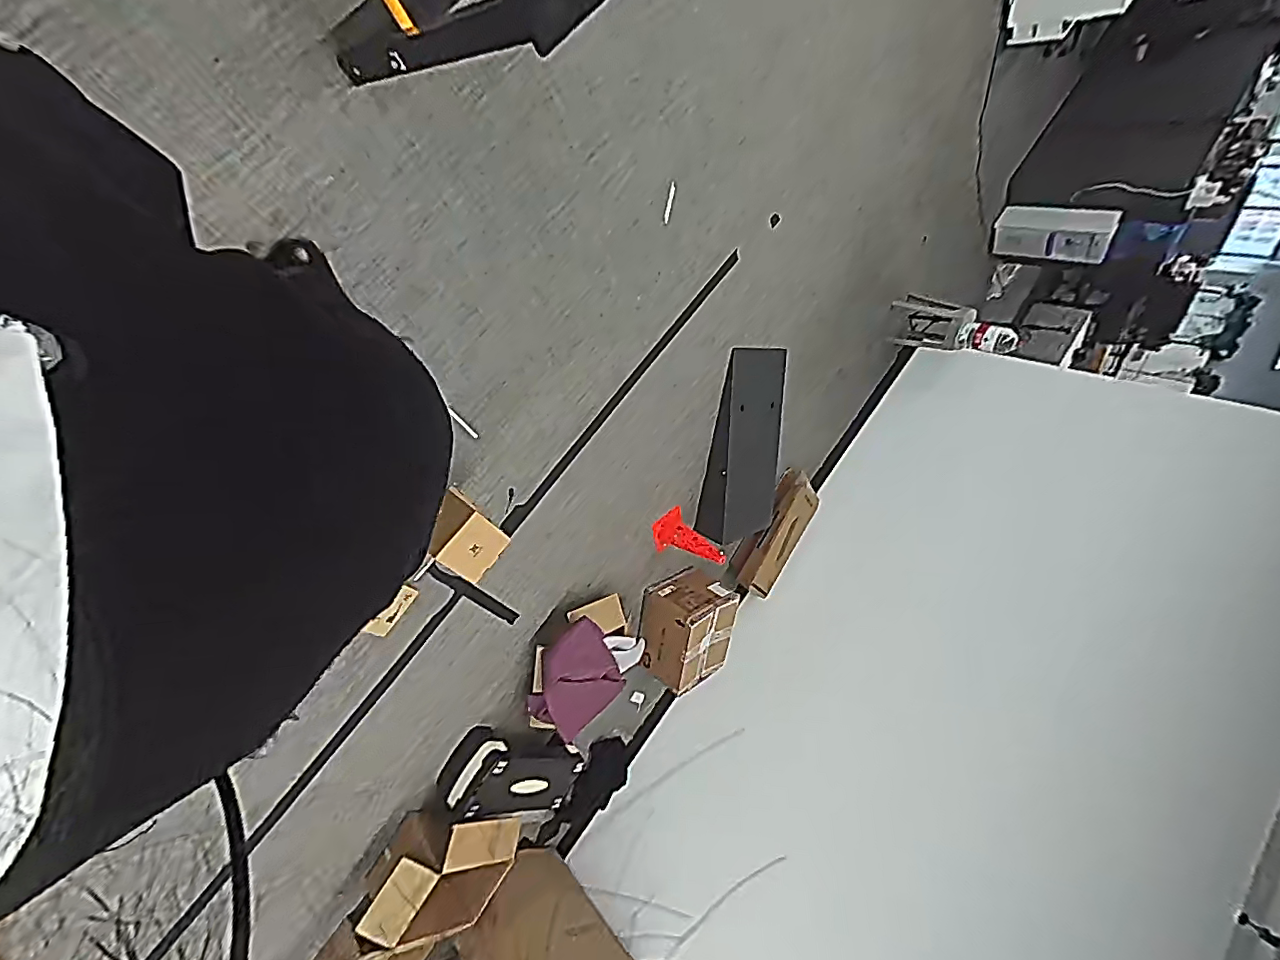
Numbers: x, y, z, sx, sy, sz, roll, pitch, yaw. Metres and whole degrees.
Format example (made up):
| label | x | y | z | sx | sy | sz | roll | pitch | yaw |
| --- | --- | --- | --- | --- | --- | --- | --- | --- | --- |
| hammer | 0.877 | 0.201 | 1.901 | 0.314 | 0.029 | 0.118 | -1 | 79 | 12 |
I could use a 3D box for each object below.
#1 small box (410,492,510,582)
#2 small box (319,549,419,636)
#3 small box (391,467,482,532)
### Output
| label | x | y | z | sx | sy | sz | roll | pitch | yaw |
| --- | --- | --- | --- | --- | --- | --- | --- | --- | --- |
| small box | -0.517 | 0.159 | 1.550 | 0.168 | 0.176 | 0.179 | -53 | 140 | -14 |
| small box | -0.803 | 0.325 | 1.594 | 0.168 | 0.176 | 0.179 | -54 | 140 | -10 |
| small box | -0.626 | 0.091 | 1.649 | 0.179 | 0.176 | 0.168 | -51 | 141 | -14 |
